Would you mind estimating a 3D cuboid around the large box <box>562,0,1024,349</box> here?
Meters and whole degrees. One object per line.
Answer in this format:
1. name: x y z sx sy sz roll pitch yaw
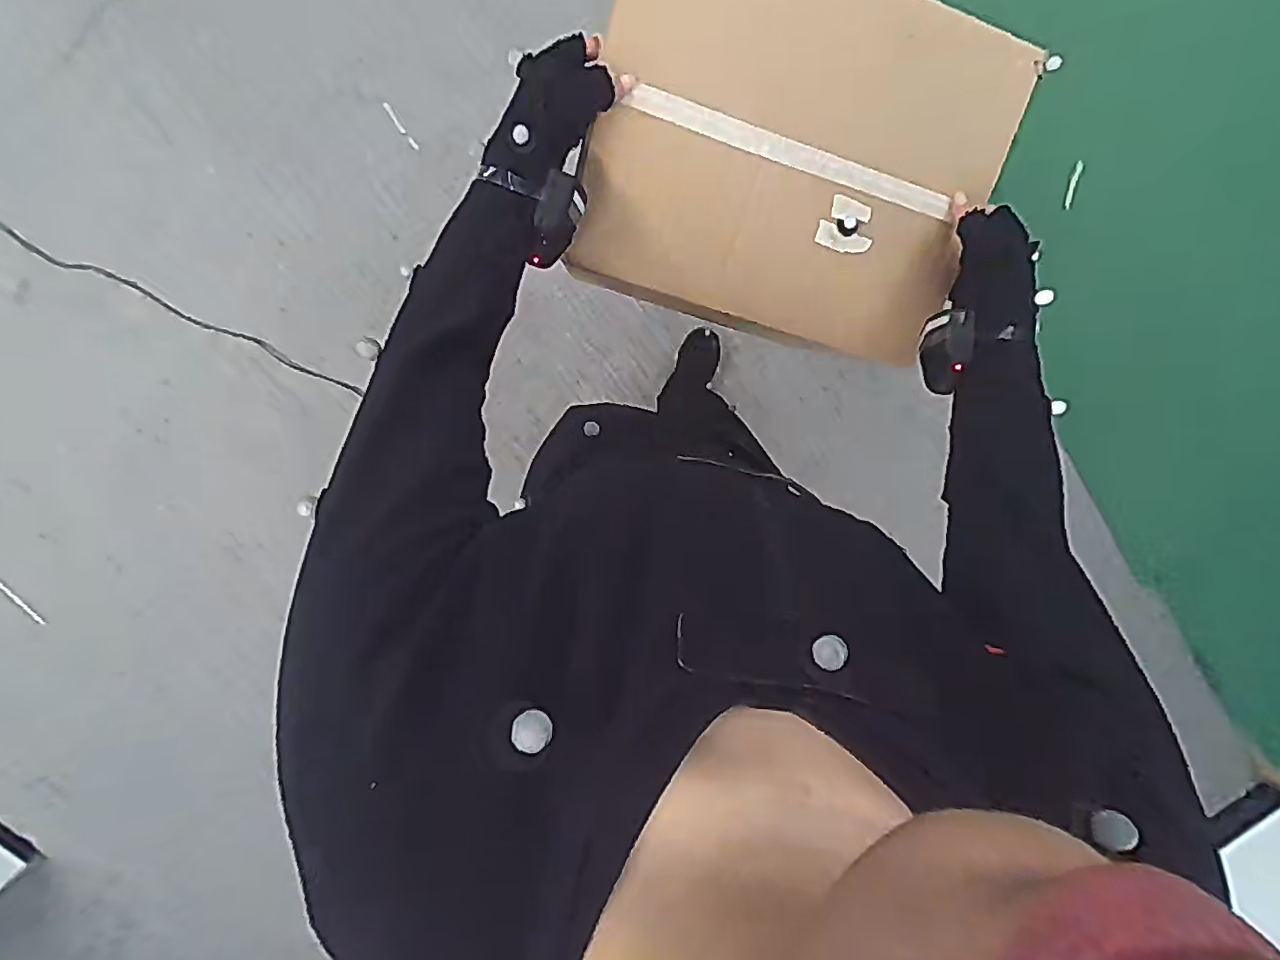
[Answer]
1. large box: 0.129 -0.368 0.667 0.408 0.320 0.320 12 106 -11
